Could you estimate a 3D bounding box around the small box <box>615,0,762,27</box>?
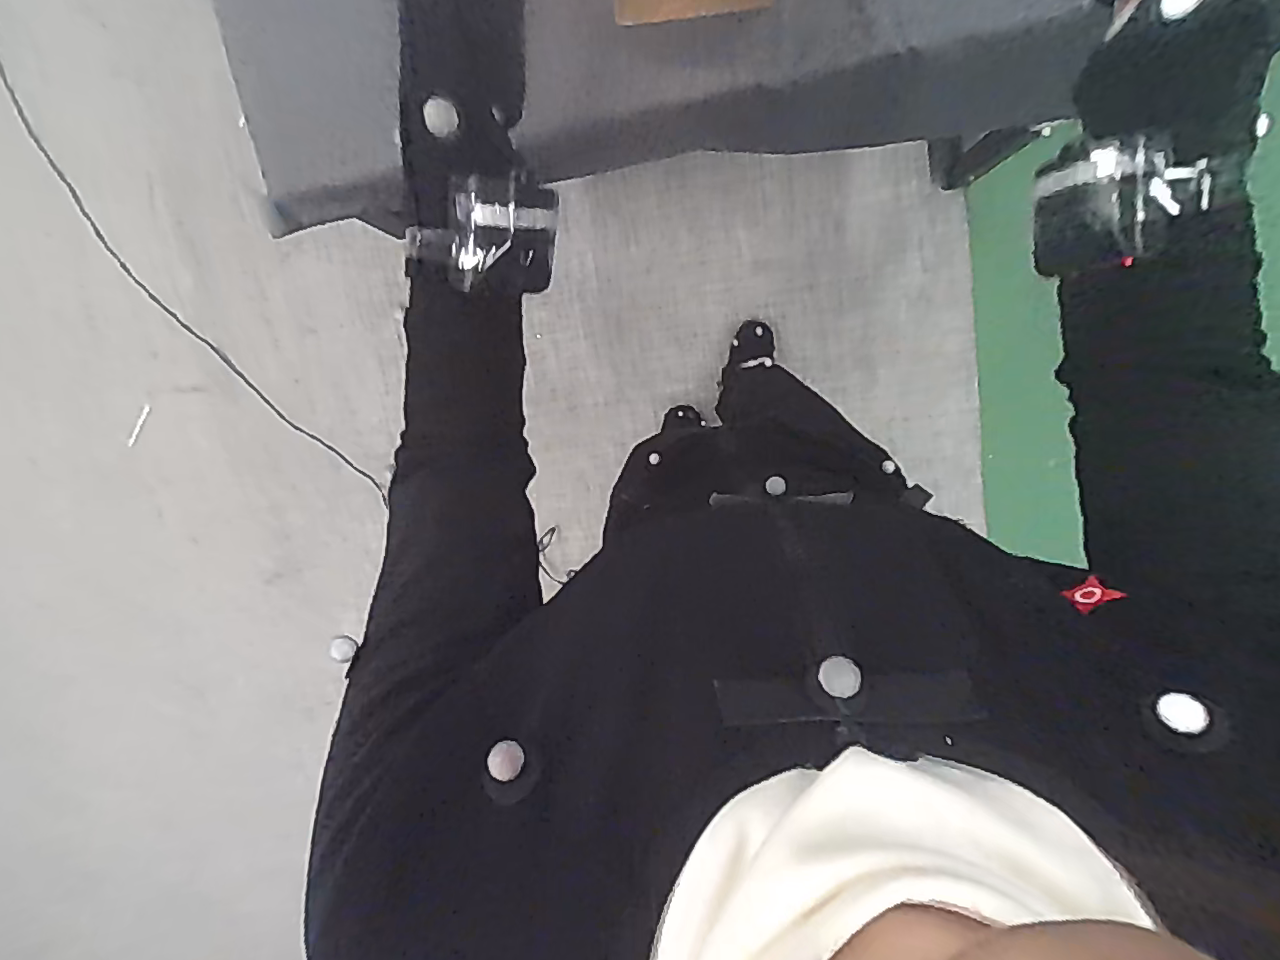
[{"bbox_3d":[0.046,-0.585,0.519,0.179,0.176,0.168,-7,97,5],"label":"small box"}]
